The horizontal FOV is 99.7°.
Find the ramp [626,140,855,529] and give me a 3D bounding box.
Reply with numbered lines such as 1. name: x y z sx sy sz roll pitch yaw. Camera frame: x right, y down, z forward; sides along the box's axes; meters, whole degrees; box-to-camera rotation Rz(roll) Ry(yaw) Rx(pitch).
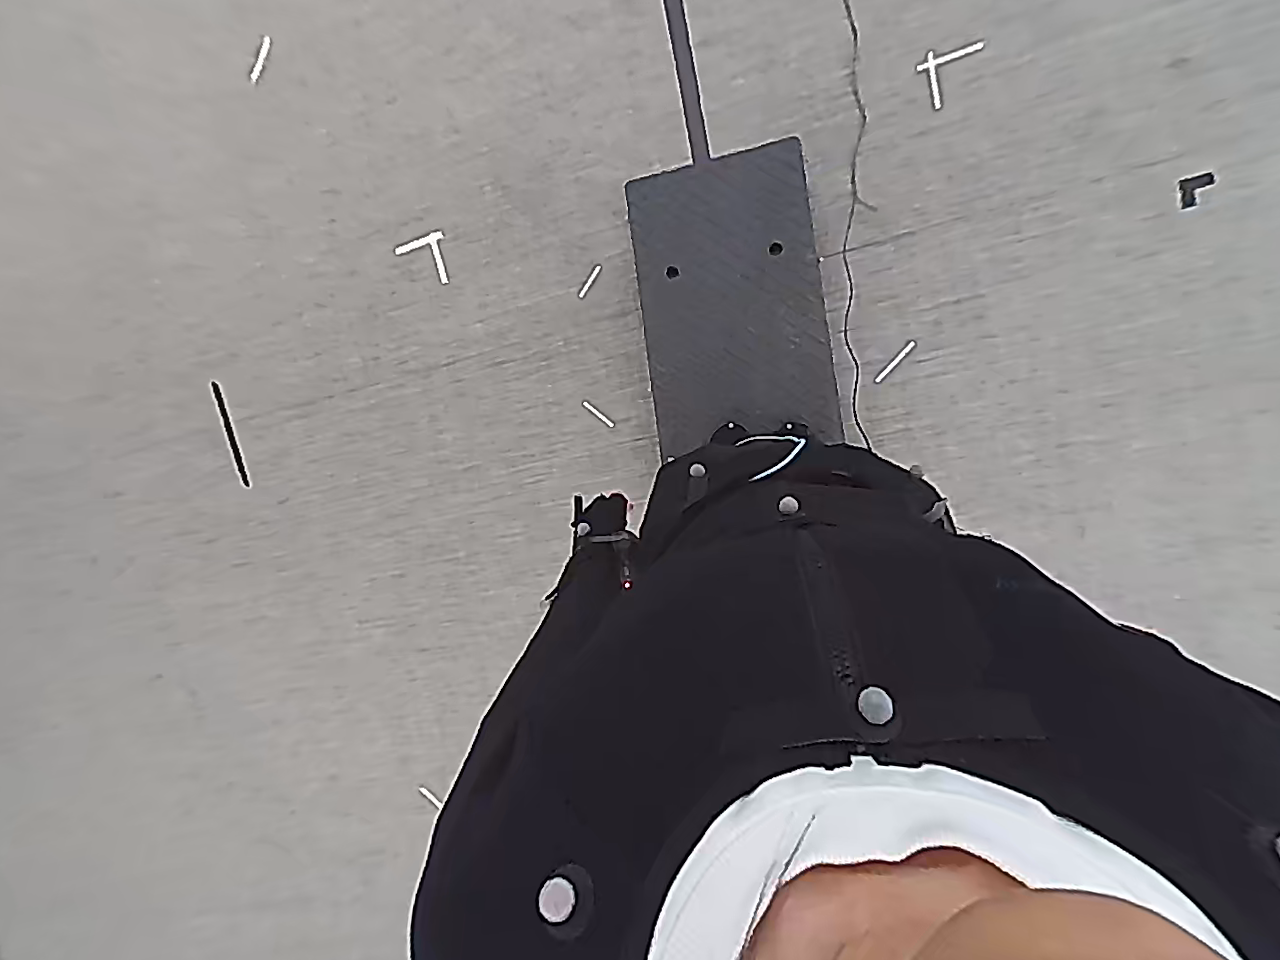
1. ramp: 0.254 -0.388 1.477 0.509 0.206 0.991 -10 96 14
